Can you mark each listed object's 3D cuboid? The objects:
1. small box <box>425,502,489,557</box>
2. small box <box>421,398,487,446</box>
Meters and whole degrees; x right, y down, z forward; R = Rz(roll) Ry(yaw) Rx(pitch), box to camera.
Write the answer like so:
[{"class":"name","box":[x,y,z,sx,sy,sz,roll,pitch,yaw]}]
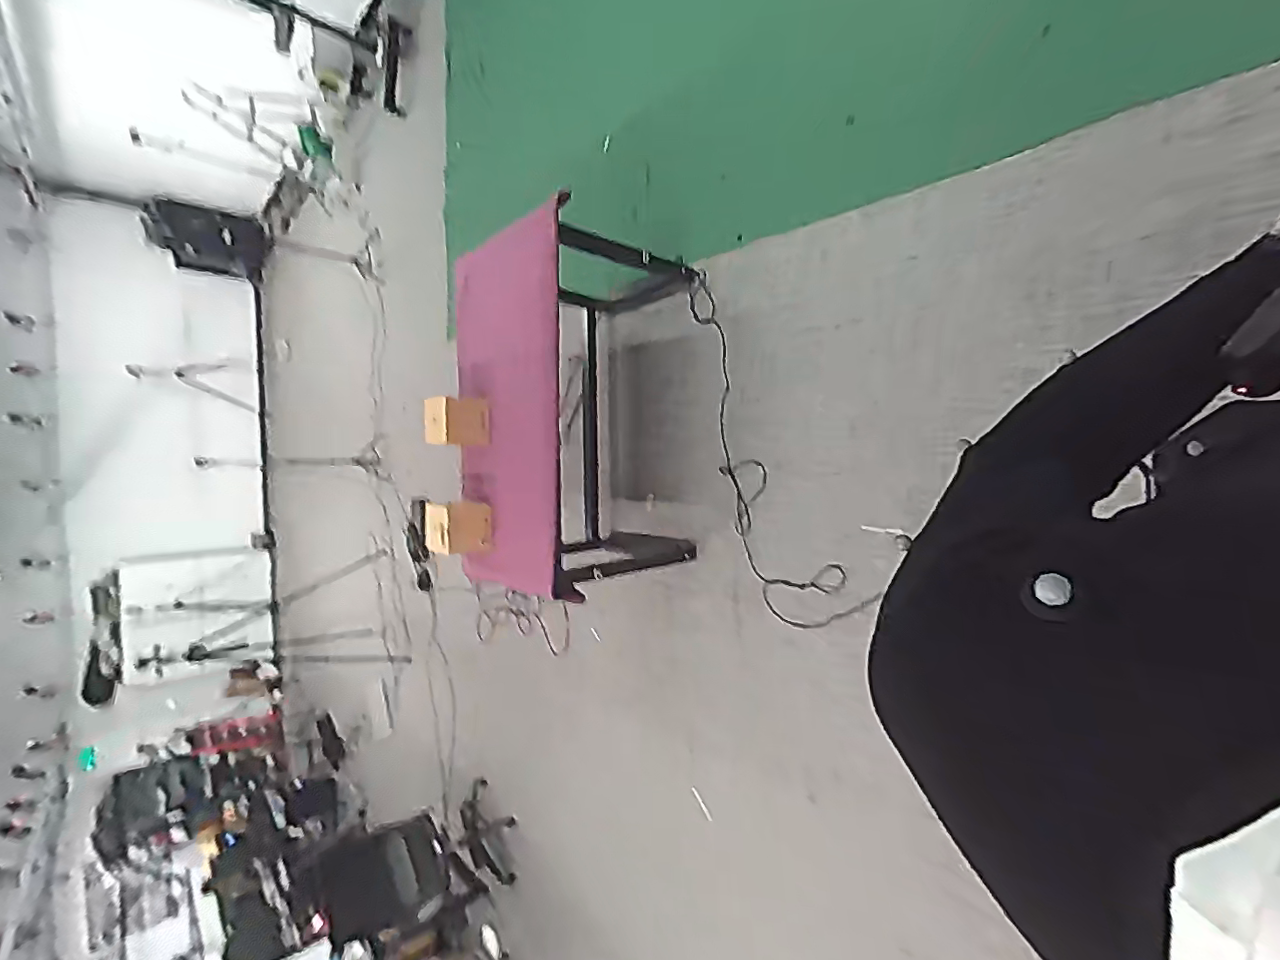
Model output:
[{"class":"small box","box":[-0.656,0.171,1.945,0.179,0.176,0.168,4,95,45]},{"class":"small box","box":[-0.666,-0.206,1.933,0.179,0.176,0.168,6,98,45]}]
